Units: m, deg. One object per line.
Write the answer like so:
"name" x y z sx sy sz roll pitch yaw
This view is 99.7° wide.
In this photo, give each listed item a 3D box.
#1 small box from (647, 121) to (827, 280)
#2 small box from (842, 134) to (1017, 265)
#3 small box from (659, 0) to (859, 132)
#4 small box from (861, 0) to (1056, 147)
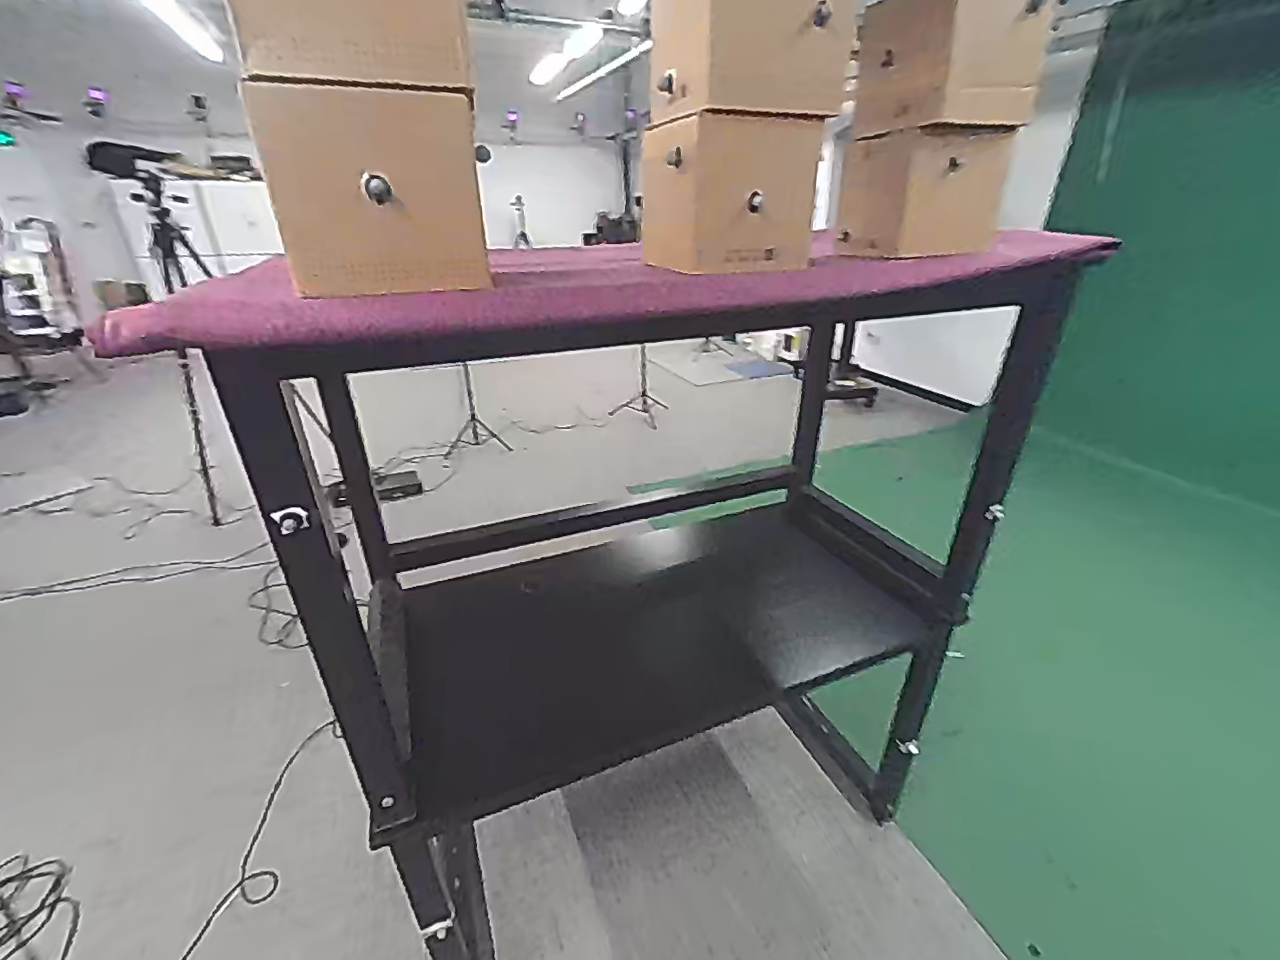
"small box" 0.114 -0.356 0.706 0.168 0.176 0.179 -9 28 -18
"small box" 0.438 -0.433 0.851 0.179 0.176 0.168 -9 26 -14
"small box" 0.128 -0.498 0.627 0.179 0.176 0.168 -10 27 -17
"small box" 0.437 -0.573 0.767 0.179 0.176 0.168 -11 27 -18
